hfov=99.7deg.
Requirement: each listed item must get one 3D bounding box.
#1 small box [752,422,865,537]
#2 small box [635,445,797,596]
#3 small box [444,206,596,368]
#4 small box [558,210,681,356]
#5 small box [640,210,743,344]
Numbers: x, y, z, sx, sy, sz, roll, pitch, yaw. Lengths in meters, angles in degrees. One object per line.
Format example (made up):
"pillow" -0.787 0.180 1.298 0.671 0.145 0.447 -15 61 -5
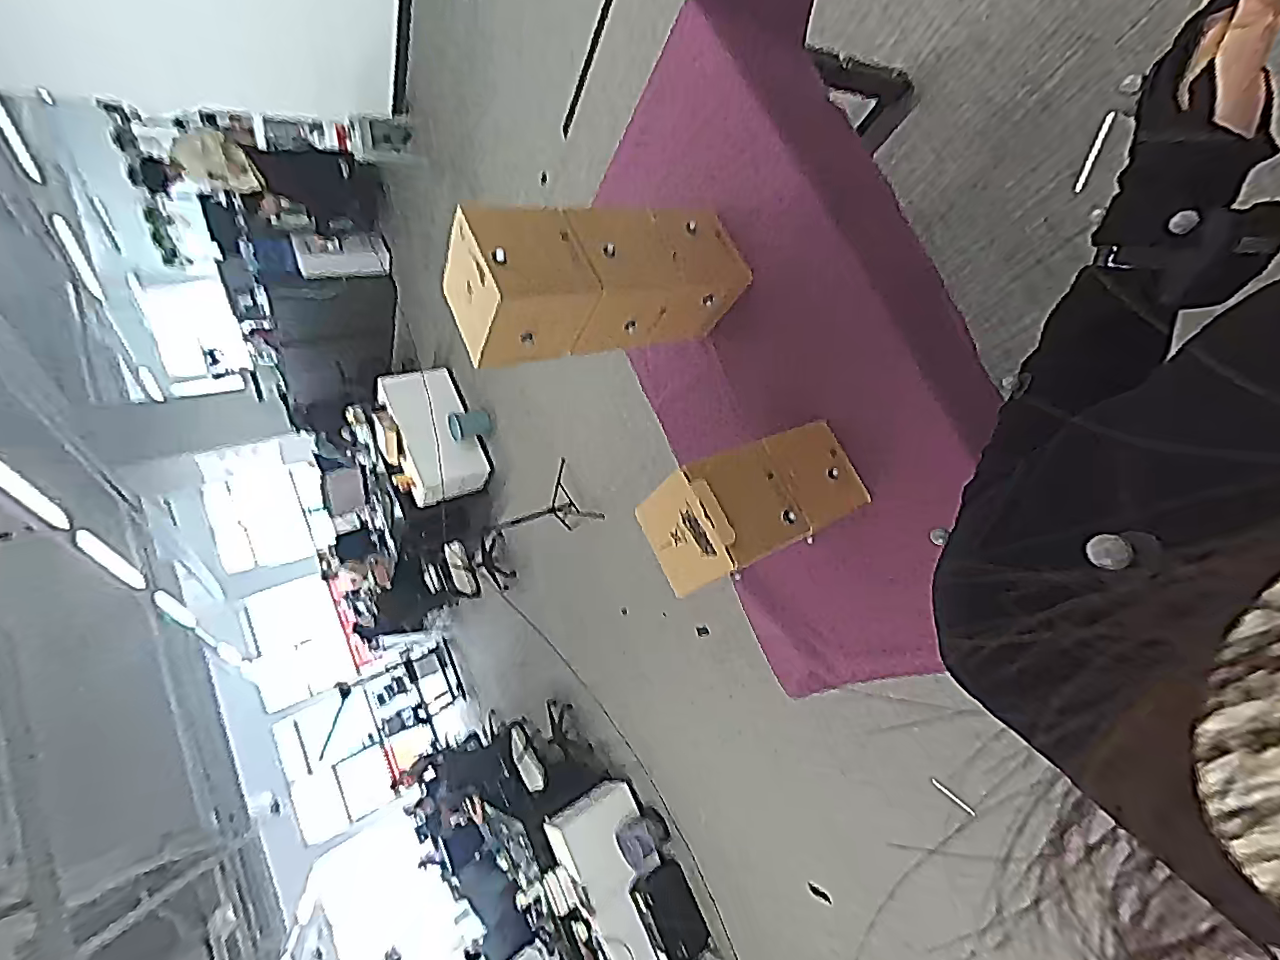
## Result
"small box" 0.256 0.018 0.962 0.168 0.176 0.179 64 145 13
"small box" 0.126 0.062 0.873 0.168 0.176 0.179 63 146 14
"small box" -0.192 -0.302 0.856 0.168 0.176 0.179 64 146 12
"small box" -0.057 -0.343 0.939 0.179 0.176 0.168 64 145 13
"small box" 0.072 -0.386 1.031 0.168 0.176 0.179 64 147 12
